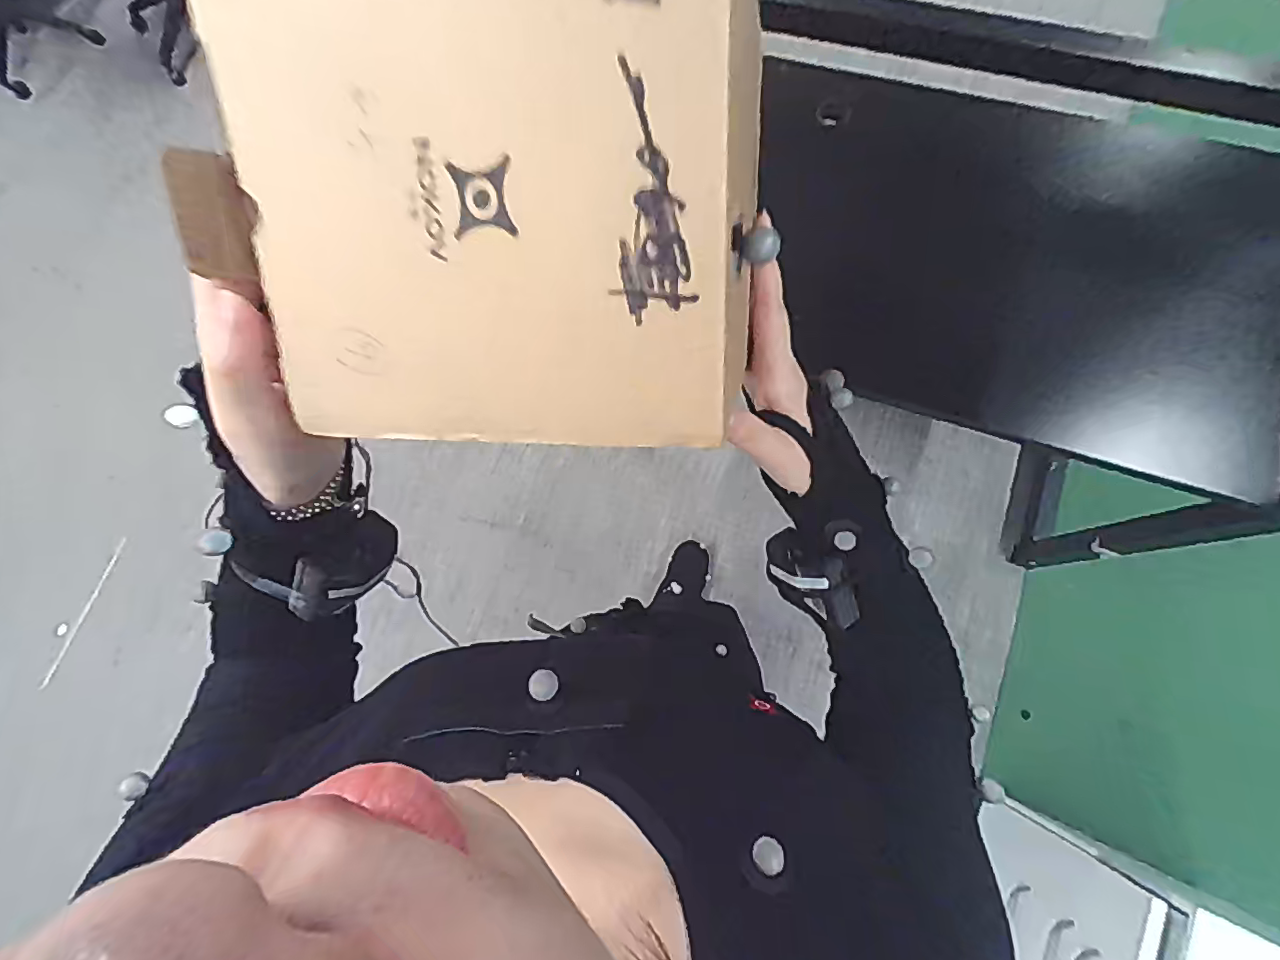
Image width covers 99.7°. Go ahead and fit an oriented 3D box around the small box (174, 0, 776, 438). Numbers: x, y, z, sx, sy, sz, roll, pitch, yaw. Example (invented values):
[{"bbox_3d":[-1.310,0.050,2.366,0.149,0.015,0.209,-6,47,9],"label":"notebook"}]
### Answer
[{"bbox_3d":[-0.038,-0.123,0.233,0.179,0.176,0.168,4,112,13],"label":"small box"}]
